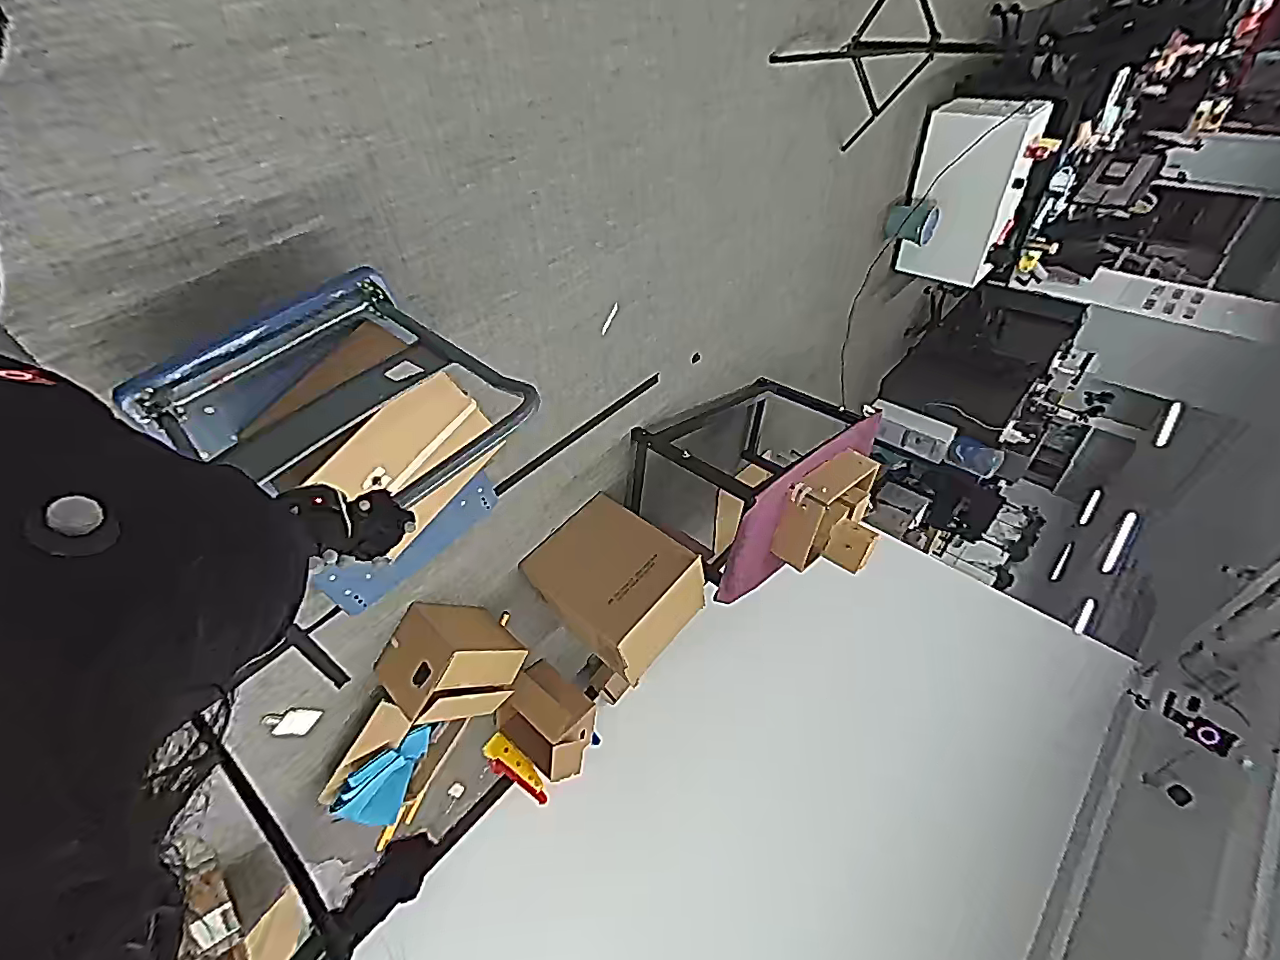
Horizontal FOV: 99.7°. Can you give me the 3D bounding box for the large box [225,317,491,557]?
[{"bbox_3d":[-0.646,-0.104,1.278,0.408,0.320,0.320,-49,147,-13],"label":"large box"}]
